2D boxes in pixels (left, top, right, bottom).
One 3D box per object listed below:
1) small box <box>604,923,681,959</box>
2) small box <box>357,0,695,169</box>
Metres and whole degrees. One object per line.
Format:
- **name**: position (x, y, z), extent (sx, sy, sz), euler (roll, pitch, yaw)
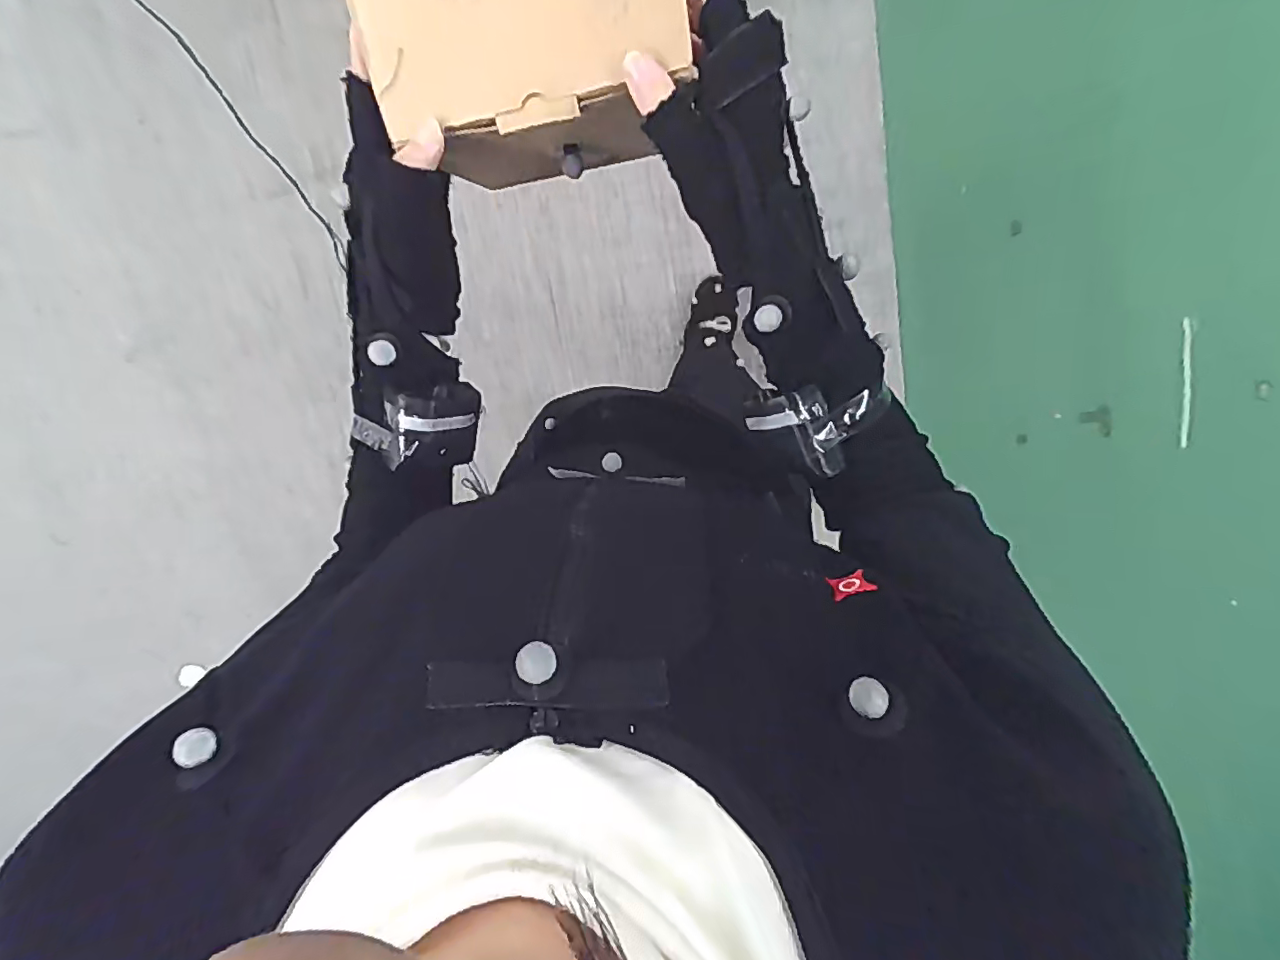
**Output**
- **small box**: position (0.011, 1.185, 1.264), extent (0.179, 0.176, 0.168), euler (-12, 98, 6)
- **small box**: position (-0.058, -0.302, 0.323), extent (0.168, 0.176, 0.179), euler (-8, 111, 8)
